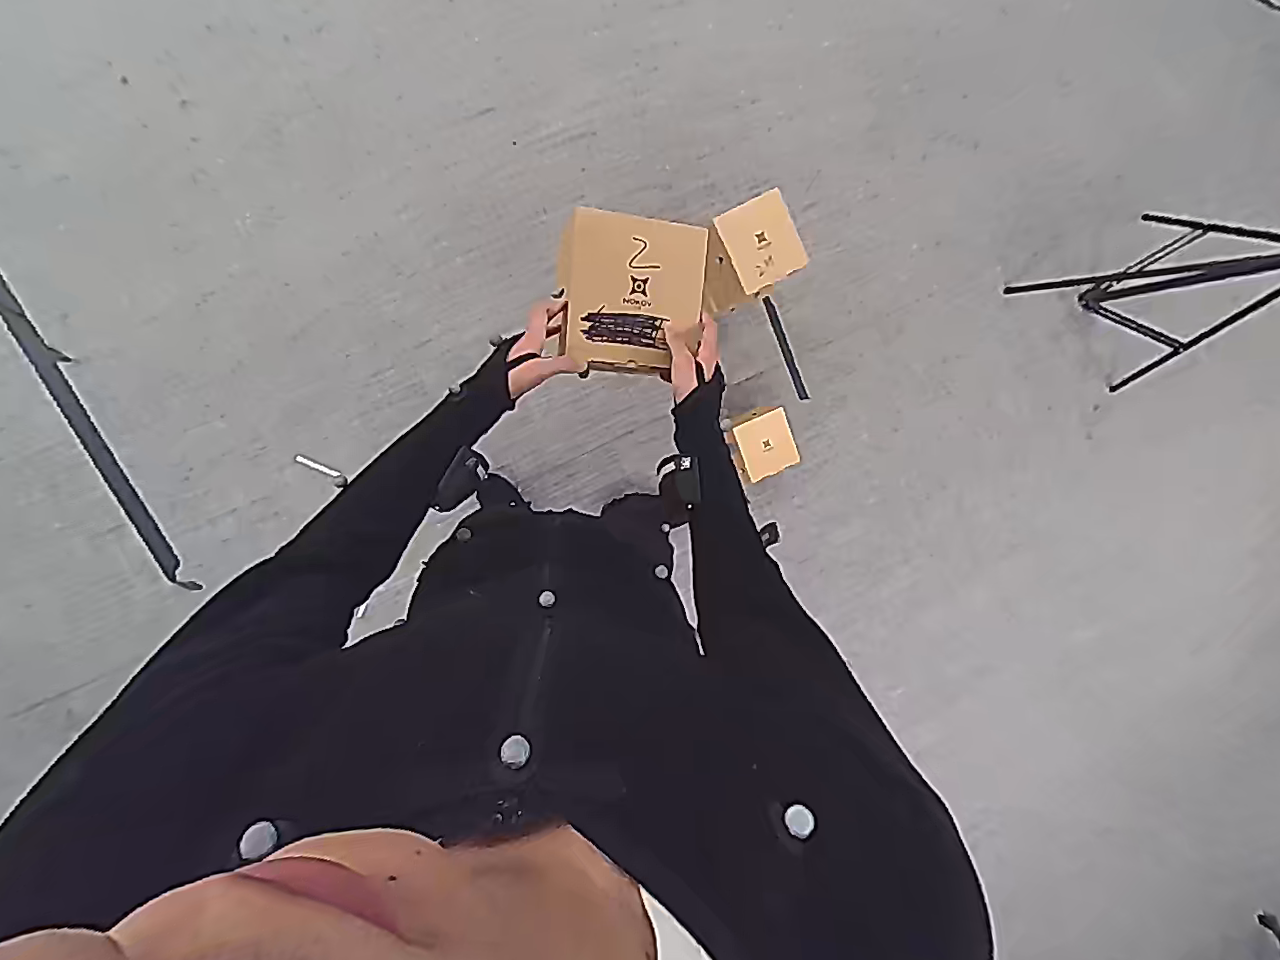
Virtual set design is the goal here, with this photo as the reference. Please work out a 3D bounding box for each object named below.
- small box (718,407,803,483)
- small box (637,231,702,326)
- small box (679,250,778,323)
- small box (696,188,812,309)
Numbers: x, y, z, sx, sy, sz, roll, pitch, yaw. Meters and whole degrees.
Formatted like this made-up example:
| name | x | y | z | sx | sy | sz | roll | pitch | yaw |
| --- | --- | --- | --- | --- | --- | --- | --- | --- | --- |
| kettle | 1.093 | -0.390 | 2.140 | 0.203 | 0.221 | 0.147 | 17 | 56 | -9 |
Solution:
| name | x | y | z | sx | sy | sz | roll | pitch | yaw |
| --- | --- | --- | --- | --- | --- | --- | --- | --- | --- |
| small box | 0.354 | -0.109 | 1.624 | 0.168 | 0.176 | 0.179 | -24 | 102 | -8 |
| small box | 0.114 | -0.557 | 1.516 | 0.179 | 0.176 | 0.168 | -36 | 102 | -5 |
| small box | 0.219 | -0.514 | 1.375 | 0.179 | 0.176 | 0.168 | -21 | 100 | -8 |
| small box | 0.247 | -0.509 | 1.212 | 0.168 | 0.176 | 0.179 | -28 | 101 | -7 |
